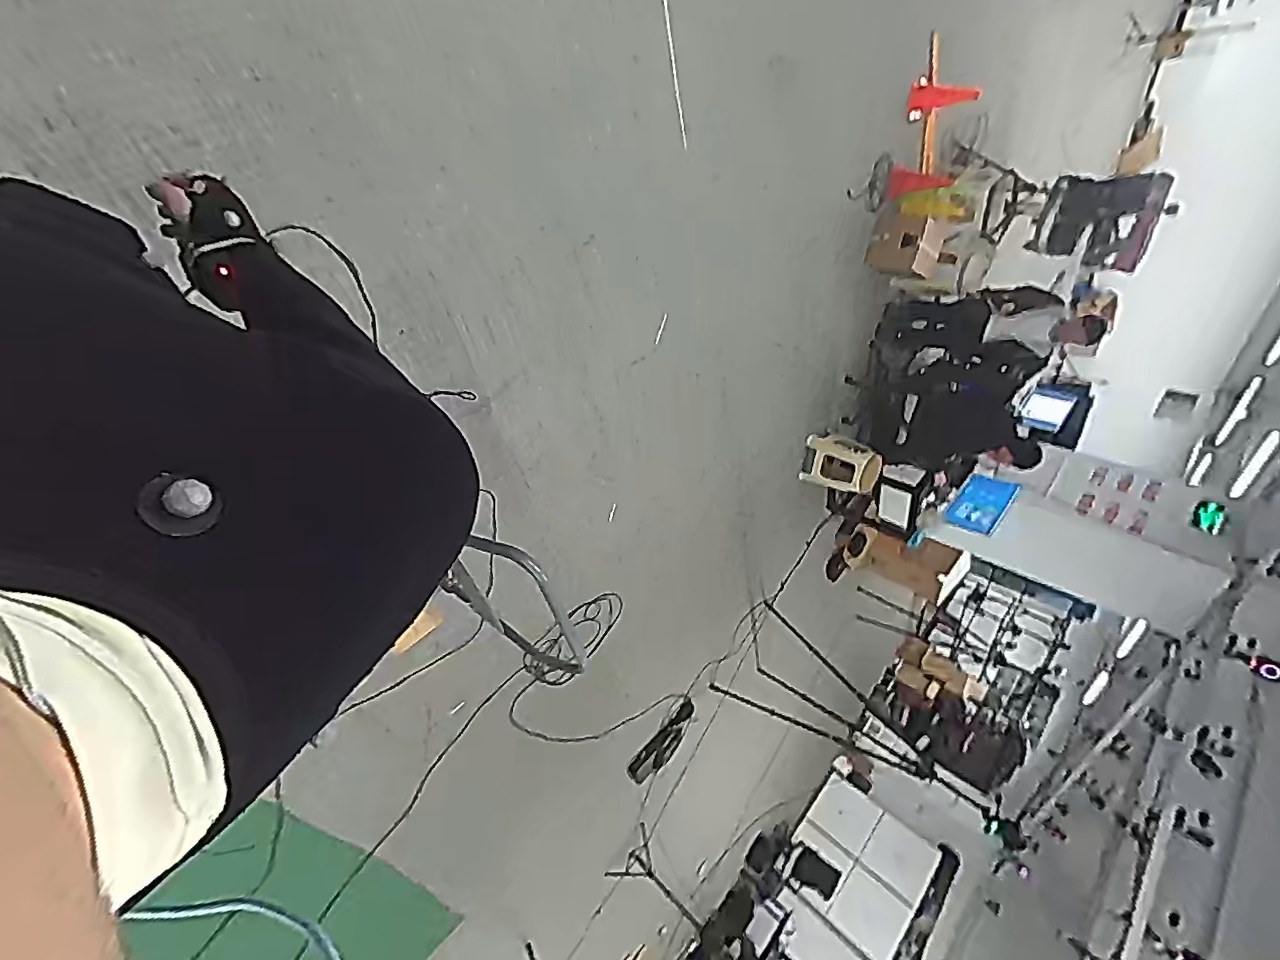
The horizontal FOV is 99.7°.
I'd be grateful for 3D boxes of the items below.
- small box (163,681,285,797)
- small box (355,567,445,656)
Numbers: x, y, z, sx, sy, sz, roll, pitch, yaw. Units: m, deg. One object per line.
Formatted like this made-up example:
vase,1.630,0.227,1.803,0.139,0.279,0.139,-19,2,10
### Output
small box,-1.069,0.658,1.390,0.179,0.176,0.168,-39,135,-30
small box,-0.730,0.385,1.629,0.168,0.176,0.179,-39,136,-29
